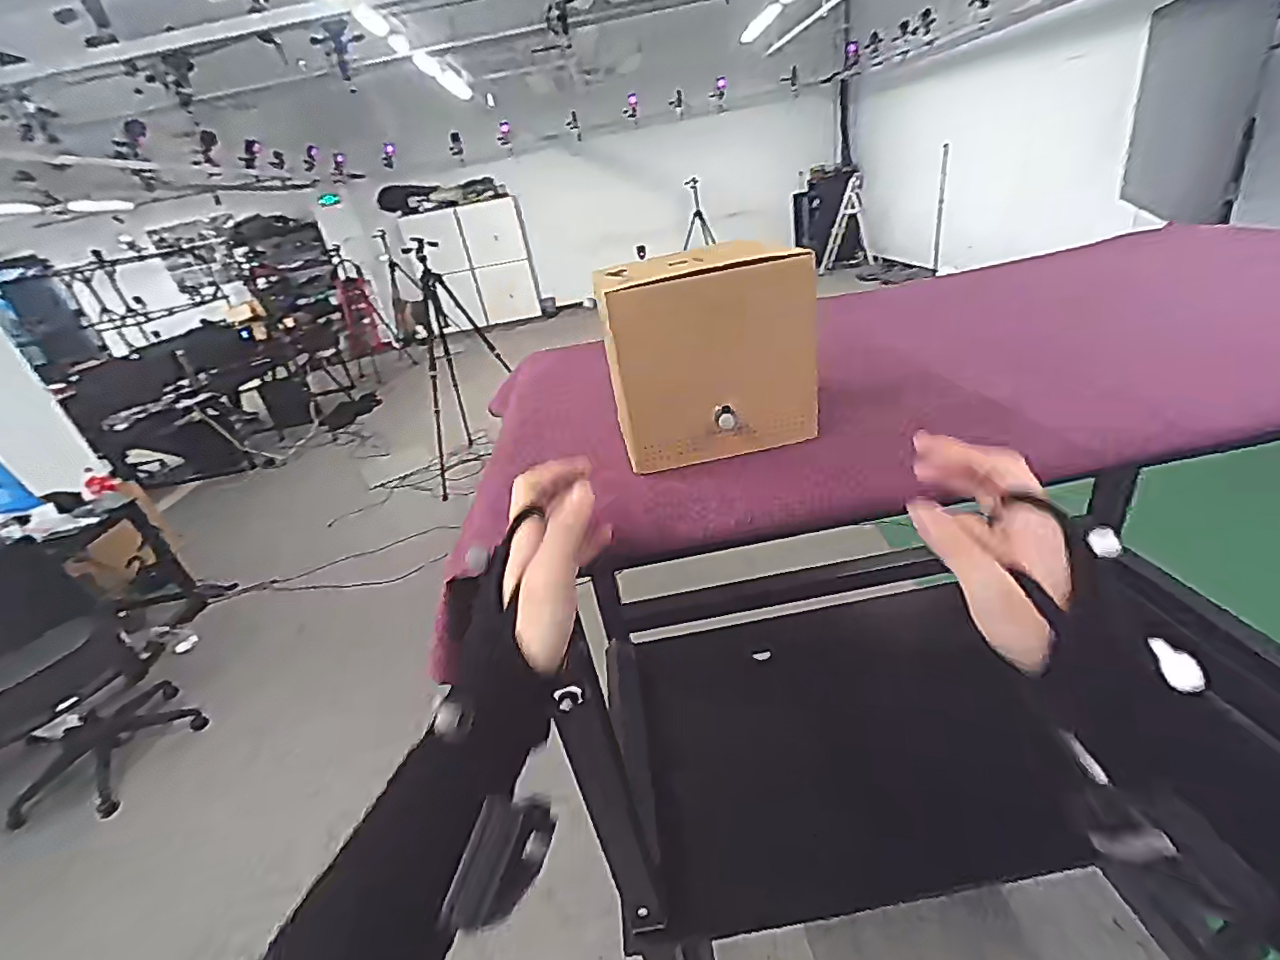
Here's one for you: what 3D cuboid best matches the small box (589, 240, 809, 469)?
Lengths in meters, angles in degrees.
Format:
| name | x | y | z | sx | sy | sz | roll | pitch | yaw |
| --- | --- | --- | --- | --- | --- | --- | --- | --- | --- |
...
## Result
| name | x | y | z | sx | sy | sz | roll | pitch | yaw |
| --- | --- | --- | --- | --- | --- | --- | --- | --- | --- |
| small box | 0.053 | -0.129 | 0.535 | 0.179 | 0.176 | 0.168 | -12 | 27 | -2 |
